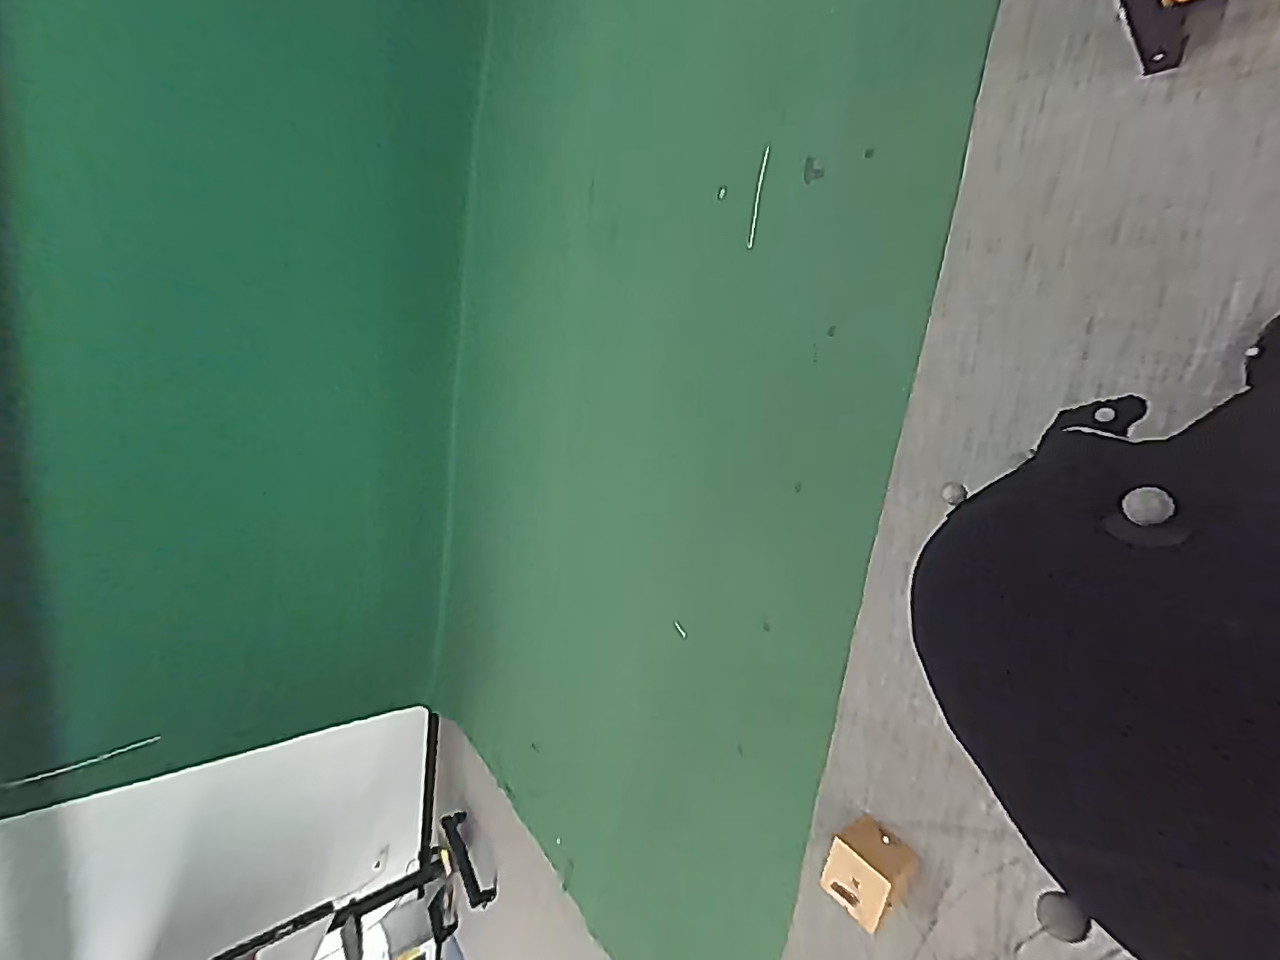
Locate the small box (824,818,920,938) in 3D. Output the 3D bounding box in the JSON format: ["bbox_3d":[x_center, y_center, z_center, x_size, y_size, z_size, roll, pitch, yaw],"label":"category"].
[{"bbox_3d":[0.641,1.086,1.489,0.168,0.176,0.179,25,108,47],"label":"small box"}]
